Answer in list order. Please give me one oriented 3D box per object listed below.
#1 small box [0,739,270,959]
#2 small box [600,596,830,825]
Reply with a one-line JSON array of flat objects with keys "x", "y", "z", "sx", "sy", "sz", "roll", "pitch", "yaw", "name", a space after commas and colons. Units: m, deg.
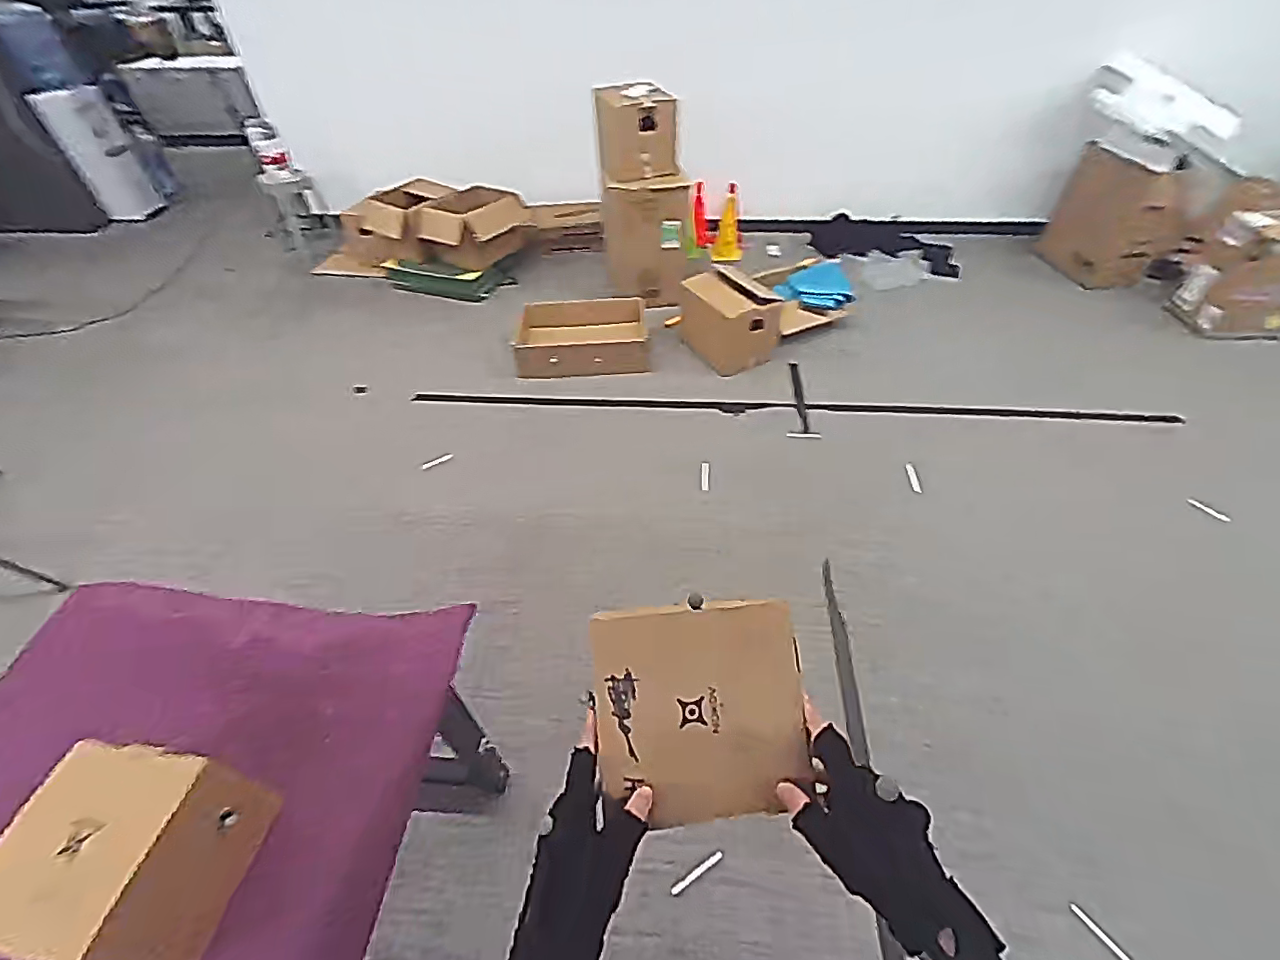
[{"x": -0.556, "y": 0.412, "z": 0.594, "sx": 0.168, "sy": 0.176, "sz": 0.179, "roll": 3, "pitch": 48, "yaw": 8, "name": "small box"}, {"x": 0.054, "y": 0.200, "z": 0.516, "sx": 0.179, "sy": 0.176, "sz": 0.168, "roll": -3, "pitch": 76, "yaw": -5, "name": "small box"}]
